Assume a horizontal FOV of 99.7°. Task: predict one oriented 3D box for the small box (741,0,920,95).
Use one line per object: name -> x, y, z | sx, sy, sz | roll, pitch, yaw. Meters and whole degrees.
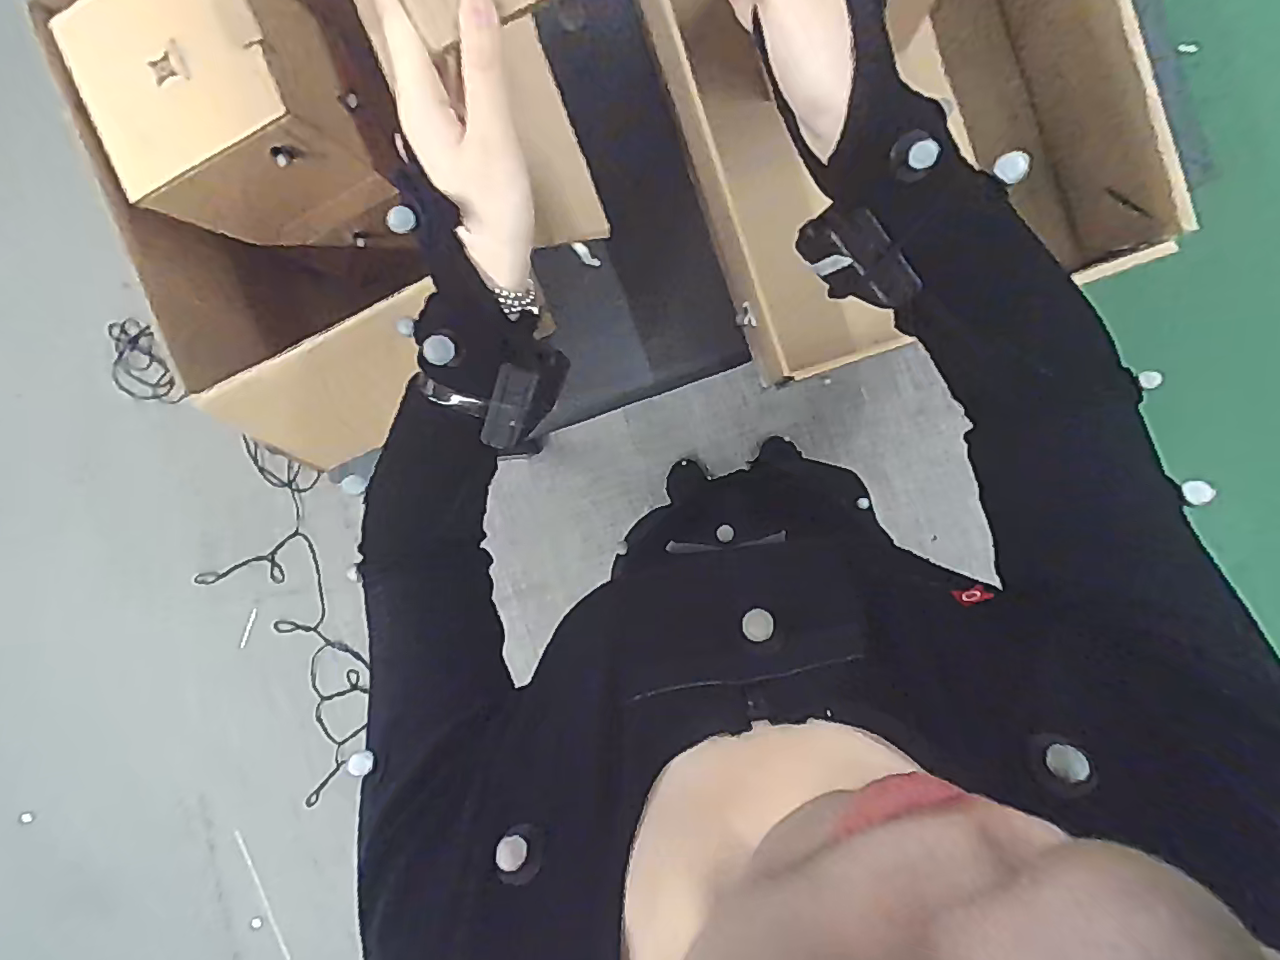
small box -> 0.203, -0.567, 0.581 | 0.179, 0.176, 0.168 | -18, 94, 10
